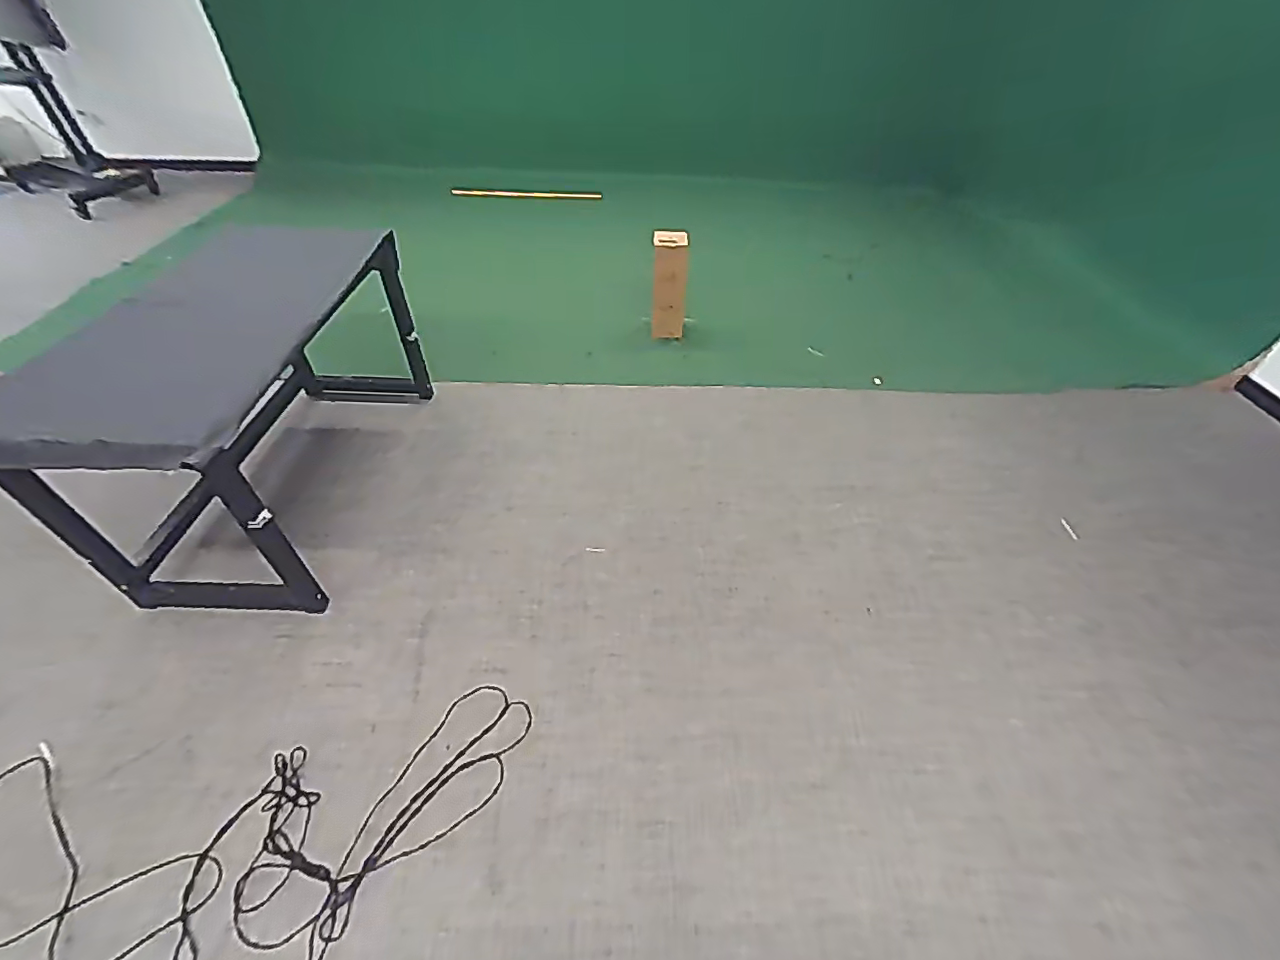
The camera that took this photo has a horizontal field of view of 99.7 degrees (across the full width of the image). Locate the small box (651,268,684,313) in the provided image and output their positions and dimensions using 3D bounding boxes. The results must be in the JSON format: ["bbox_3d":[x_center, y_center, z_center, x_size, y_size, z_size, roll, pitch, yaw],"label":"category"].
[{"bbox_3d":[0.144,-0.992,2.824,0.168,0.176,0.179,1,44,2],"label":"small box"}]

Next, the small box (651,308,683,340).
[{"bbox_3d":[0.147,-0.873,2.938,0.168,0.176,0.179,0,44,0],"label":"small box"}]
